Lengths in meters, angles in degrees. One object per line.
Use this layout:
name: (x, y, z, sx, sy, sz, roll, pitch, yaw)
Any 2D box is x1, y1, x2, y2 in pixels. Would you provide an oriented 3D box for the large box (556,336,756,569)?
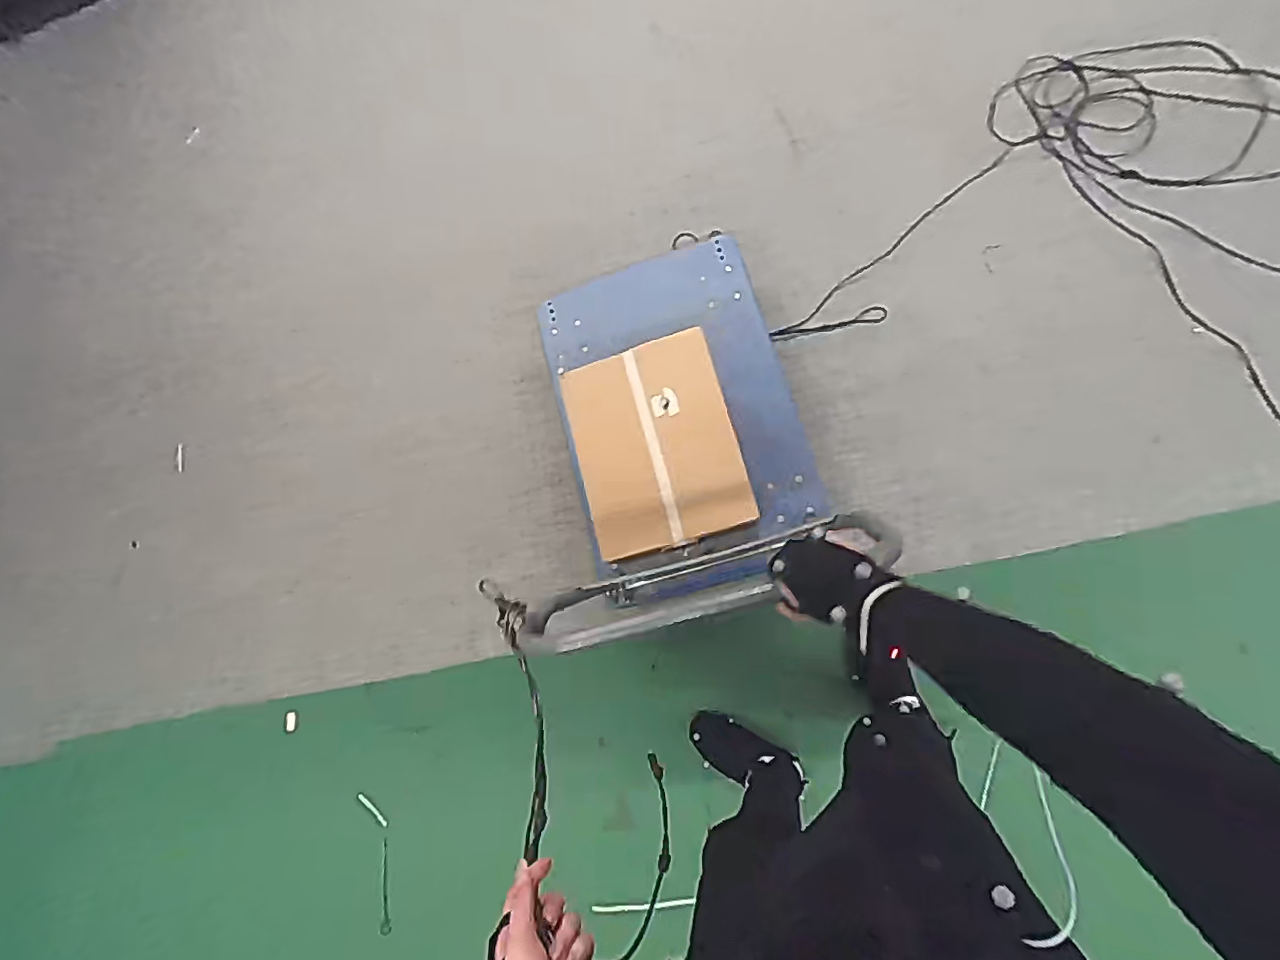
large box: (0.051, -0.036, 1.207, 0.320, 0.320, 0.408, -17, 77, 8)
